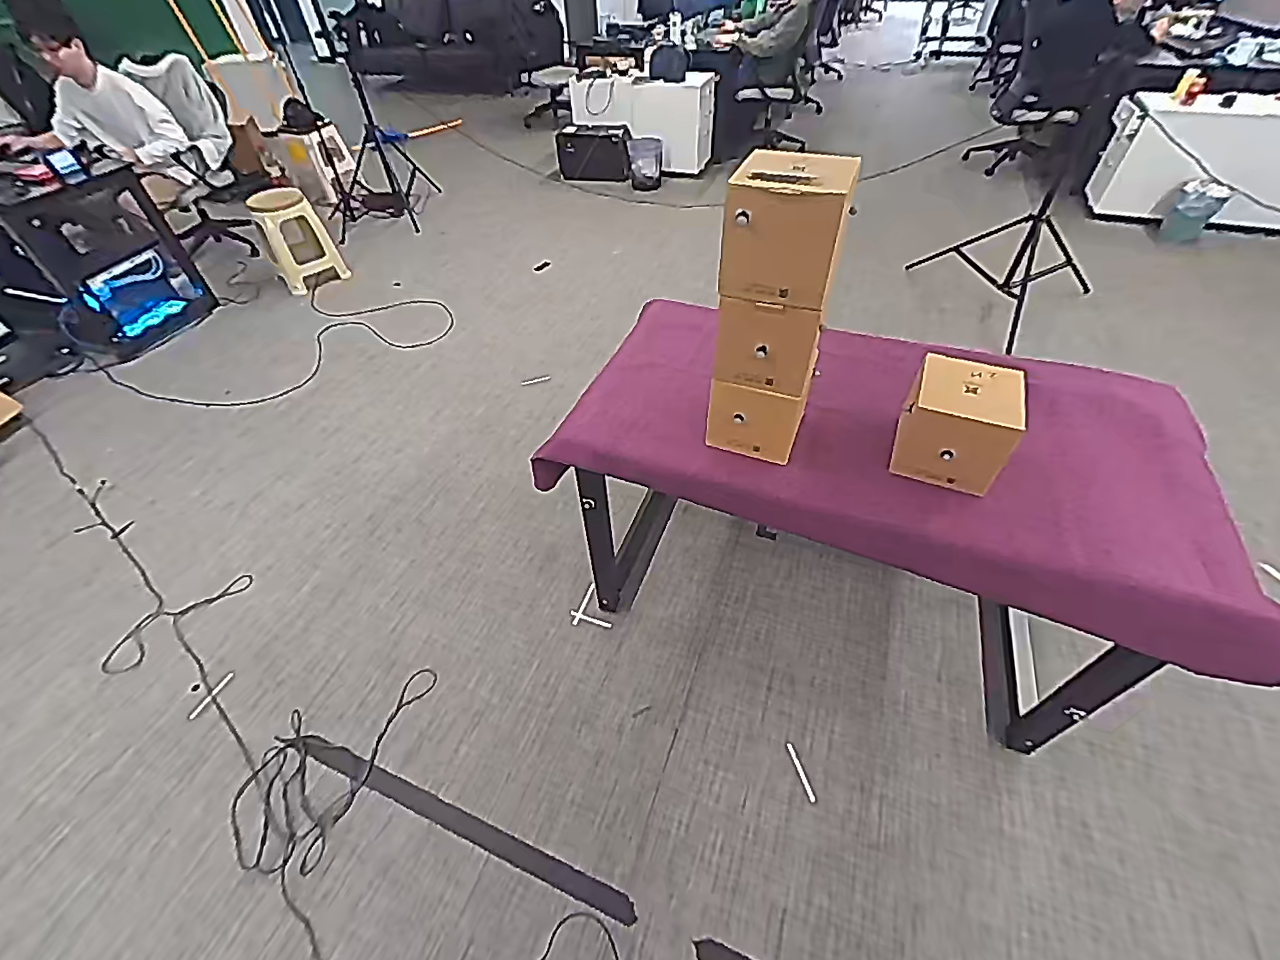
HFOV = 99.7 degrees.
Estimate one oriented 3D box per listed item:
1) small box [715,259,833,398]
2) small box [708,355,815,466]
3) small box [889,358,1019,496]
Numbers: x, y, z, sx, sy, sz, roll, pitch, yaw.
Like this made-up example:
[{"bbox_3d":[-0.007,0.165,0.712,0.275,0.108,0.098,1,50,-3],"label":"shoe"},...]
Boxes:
[{"bbox_3d":[0.235,-0.271,0.971,0.168,0.176,0.179,14,49,15],"label":"small box"},{"bbox_3d":[0.239,-0.153,1.085,0.168,0.176,0.179,16,48,16],"label":"small box"},{"bbox_3d":[0.583,-0.098,1.016,0.168,0.176,0.179,18,50,18],"label":"small box"}]
